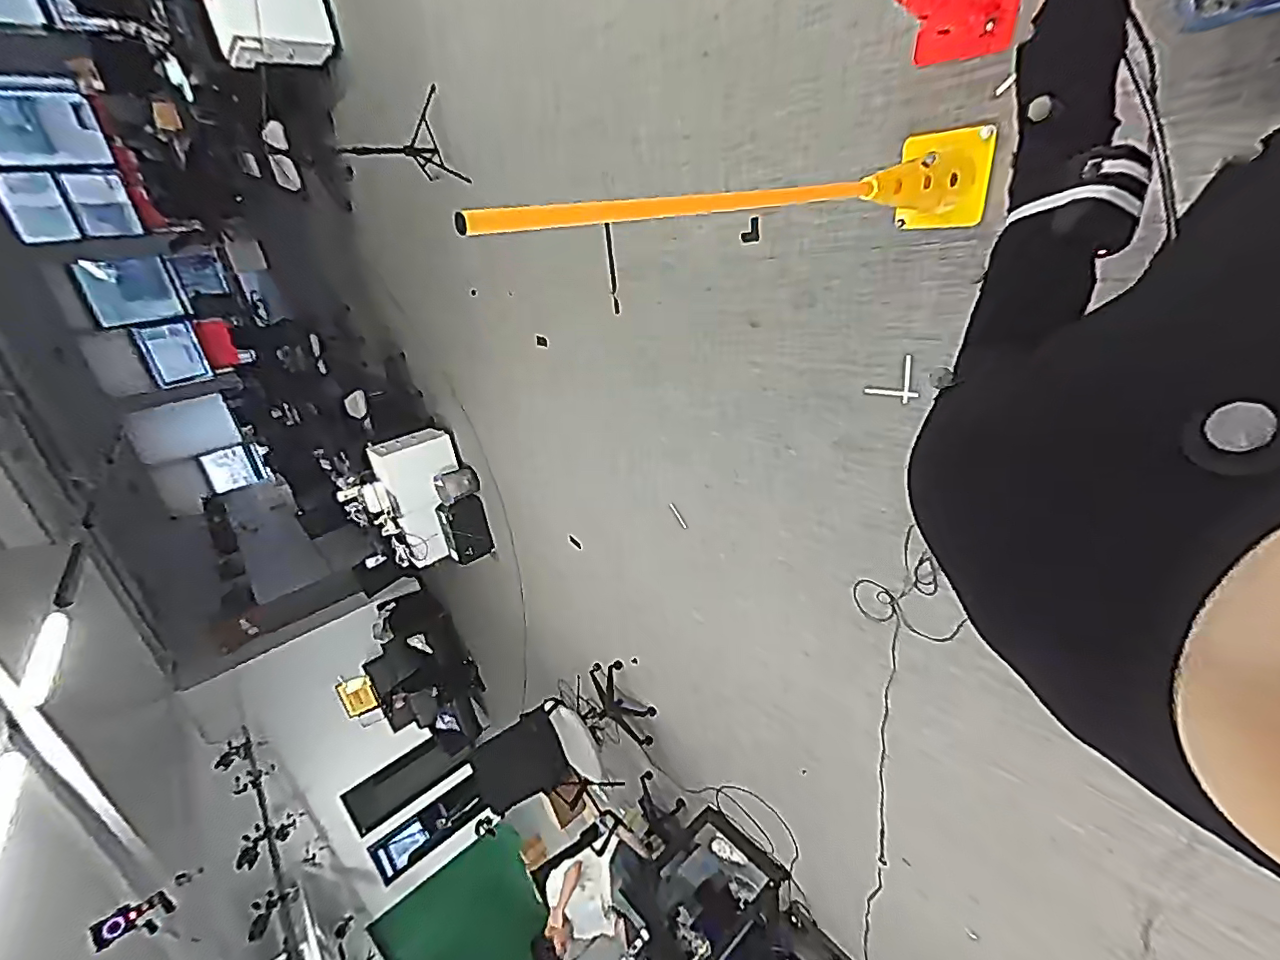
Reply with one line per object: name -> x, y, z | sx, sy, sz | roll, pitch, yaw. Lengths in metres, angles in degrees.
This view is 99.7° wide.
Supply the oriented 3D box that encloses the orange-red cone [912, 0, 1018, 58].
orange-red cone -> 0.549, -0.938, 1.010 | 0.198, 0.360, 0.199 | 27, 130, 41
